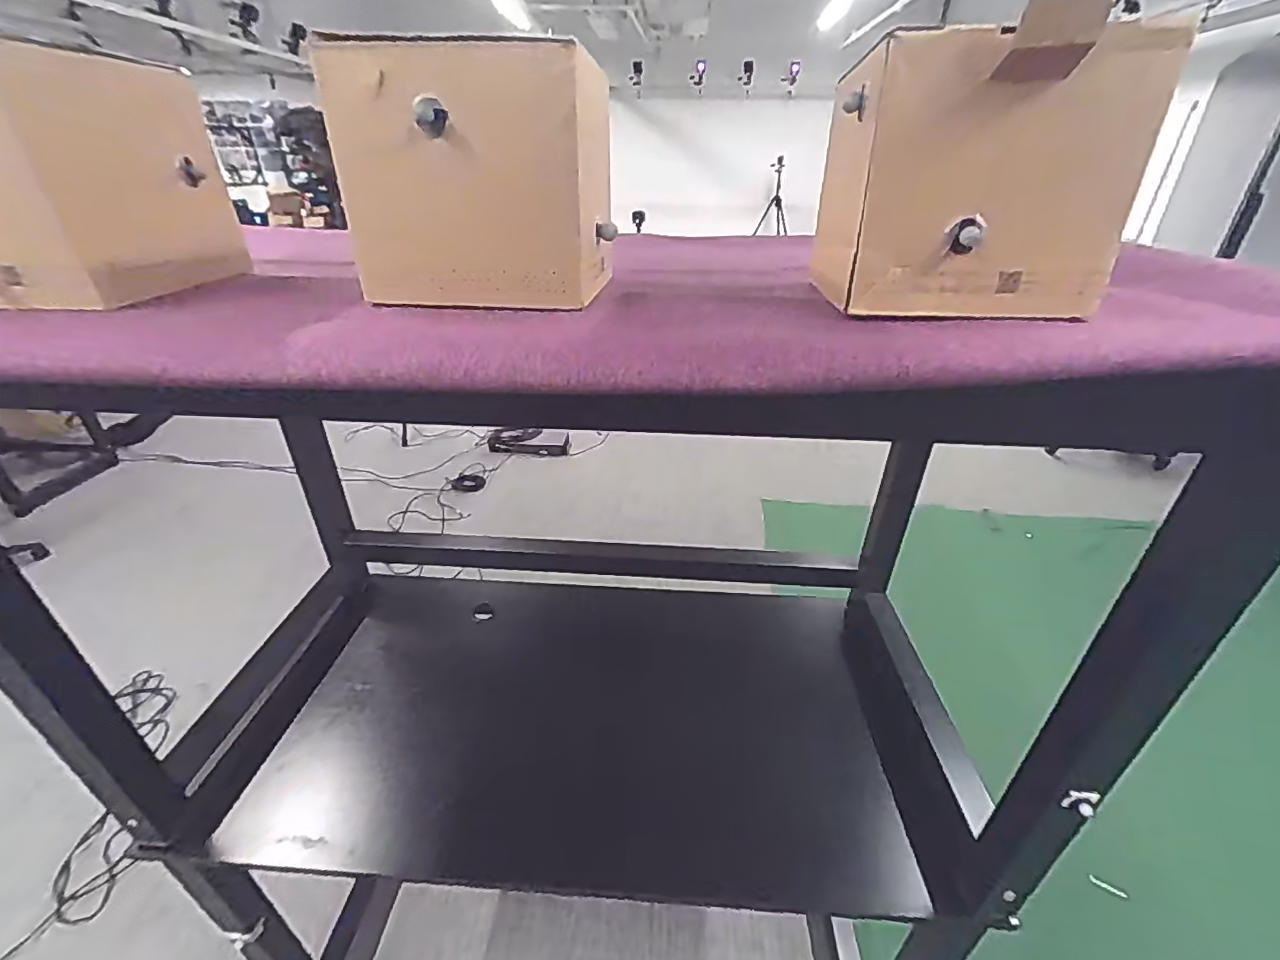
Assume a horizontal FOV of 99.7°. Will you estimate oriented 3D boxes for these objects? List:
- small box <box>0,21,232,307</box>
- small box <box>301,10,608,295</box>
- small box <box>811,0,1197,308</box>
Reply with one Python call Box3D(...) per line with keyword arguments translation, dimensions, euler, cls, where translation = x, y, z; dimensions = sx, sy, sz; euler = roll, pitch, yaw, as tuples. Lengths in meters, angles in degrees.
Box3D(translation=(-0.474, -0.244, 0.431), dimensions=(0.168, 0.176, 0.179), euler=(-1, 32, 1), cls="small box")
Box3D(translation=(-0.124, -0.251, 0.442), dimensions=(0.179, 0.176, 0.168), euler=(3, 29, 4), cls="small box")
Box3D(translation=(0.235, -0.235, 0.414), dimensions=(0.168, 0.176, 0.179), euler=(2, 28, 7), cls="small box")
